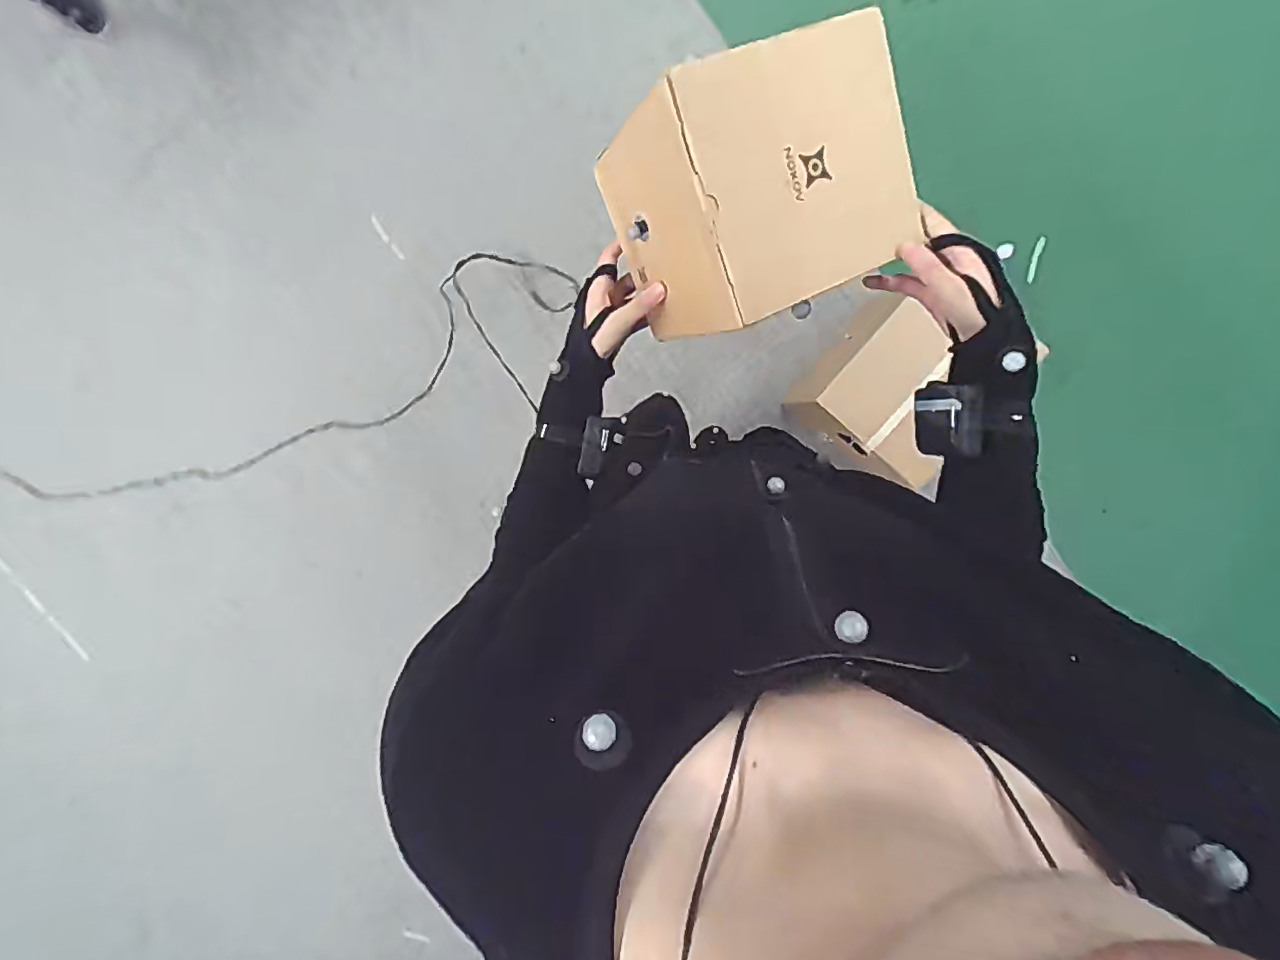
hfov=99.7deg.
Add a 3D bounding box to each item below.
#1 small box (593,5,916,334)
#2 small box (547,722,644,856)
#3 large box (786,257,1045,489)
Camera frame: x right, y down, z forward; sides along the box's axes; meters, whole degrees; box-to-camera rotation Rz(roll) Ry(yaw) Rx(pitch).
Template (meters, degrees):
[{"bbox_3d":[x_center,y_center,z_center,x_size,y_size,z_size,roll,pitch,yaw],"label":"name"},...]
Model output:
[{"bbox_3d":[0.084,-0.233,0.450,0.179,0.176,0.168,-27,108,-13],"label":"small box"},{"bbox_3d":[-0.090,0.678,1.201,0.168,0.176,0.179,-16,98,4],"label":"small box"},{"bbox_3d":[0.626,-0.237,1.308,0.320,0.320,0.408,41,96,-4],"label":"large box"}]
